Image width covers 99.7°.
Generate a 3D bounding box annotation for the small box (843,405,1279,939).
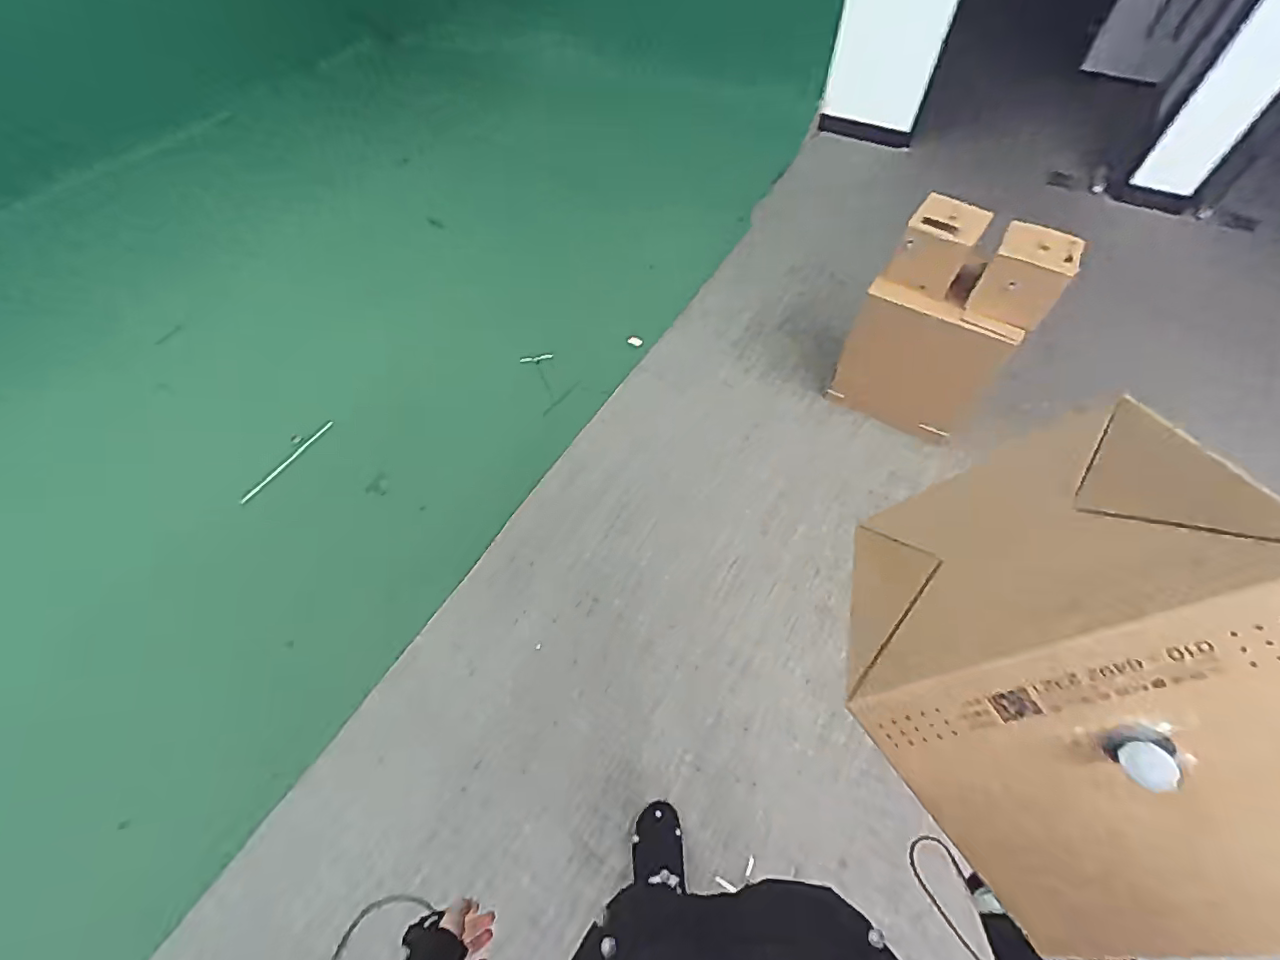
[{"bbox_3d":[0.226,0.084,0.281,0.176,0.168,0.179,52,32,-5],"label":"small box"}]
